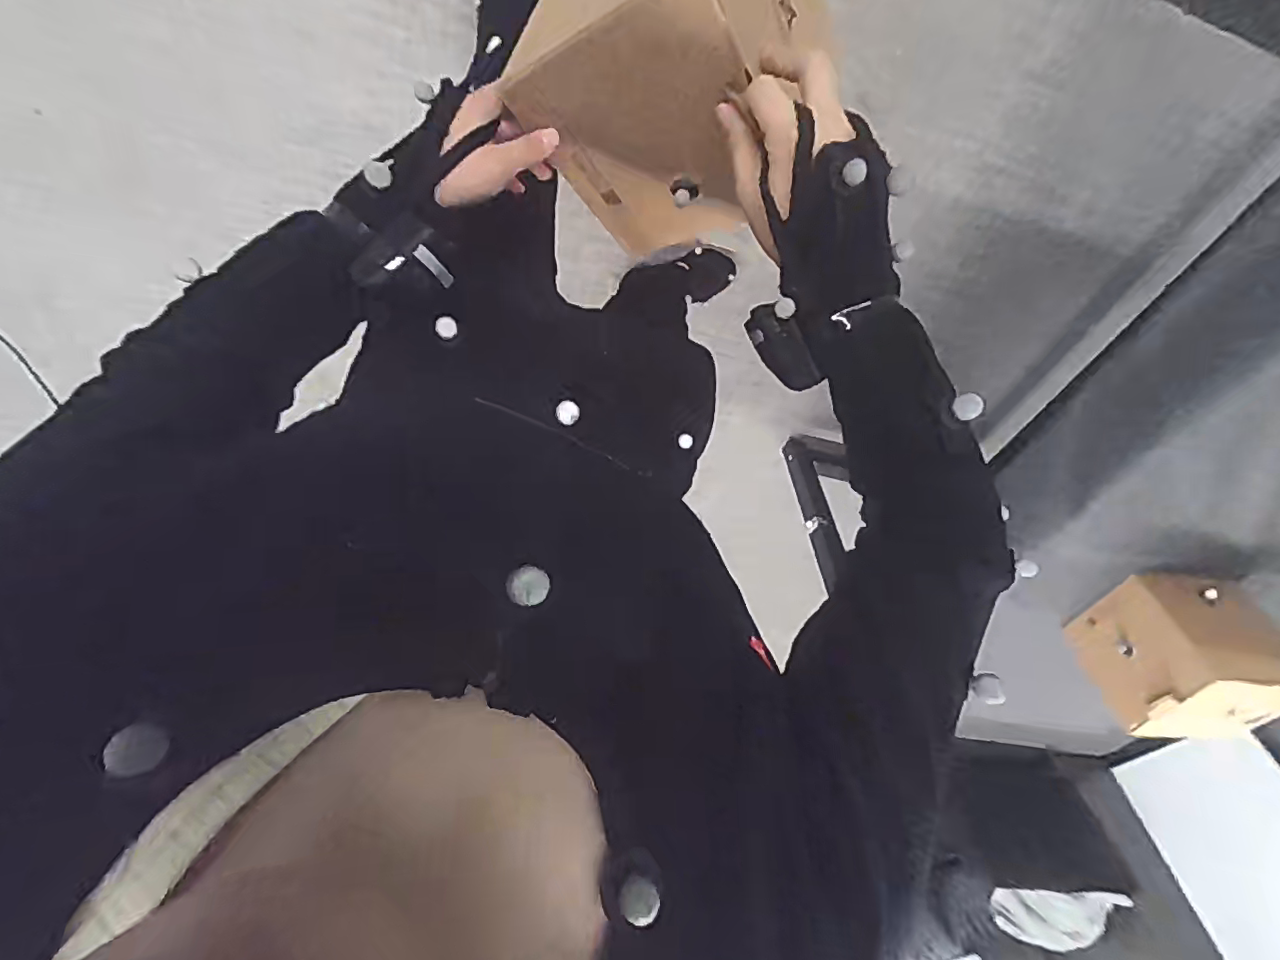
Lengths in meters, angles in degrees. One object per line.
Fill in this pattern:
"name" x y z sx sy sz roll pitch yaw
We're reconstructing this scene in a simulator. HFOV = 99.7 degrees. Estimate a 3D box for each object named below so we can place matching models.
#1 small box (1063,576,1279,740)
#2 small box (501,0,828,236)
"small box" 0.785 0.258 0.793 0.179 0.176 0.168 6 133 -6
"small box" 0.023 -0.320 0.409 0.176 0.179 0.168 1 157 36
